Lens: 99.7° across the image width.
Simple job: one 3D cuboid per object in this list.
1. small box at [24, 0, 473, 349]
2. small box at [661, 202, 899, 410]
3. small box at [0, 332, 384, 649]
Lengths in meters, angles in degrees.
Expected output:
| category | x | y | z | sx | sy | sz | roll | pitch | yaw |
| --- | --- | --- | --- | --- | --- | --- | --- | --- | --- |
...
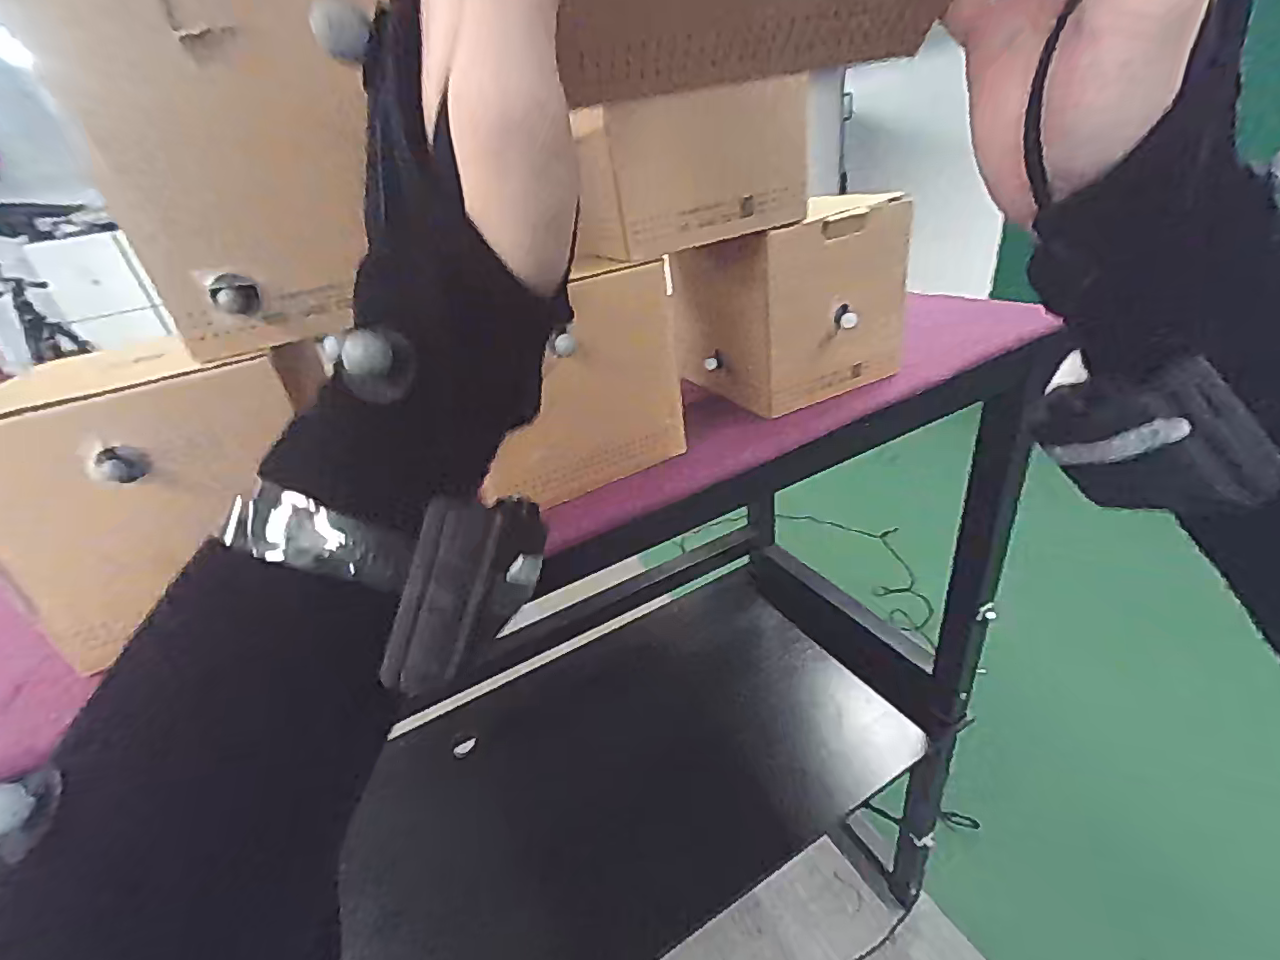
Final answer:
| category | x | y | z | sx | sy | sz | roll | pitch | yaw |
| --- | --- | --- | --- | --- | --- | --- | --- | --- | --- |
| small box | -0.230 | -0.198 | 0.373 | 0.168 | 0.176 | 0.179 | -21 | 30 | -20 |
| small box | 0.142 | -0.188 | 0.577 | 0.168 | 0.176 | 0.179 | -20 | 32 | -18 |
| small box | -0.311 | -0.009 | 0.399 | 0.179 | 0.176 | 0.168 | -18 | 30 | -17 |
